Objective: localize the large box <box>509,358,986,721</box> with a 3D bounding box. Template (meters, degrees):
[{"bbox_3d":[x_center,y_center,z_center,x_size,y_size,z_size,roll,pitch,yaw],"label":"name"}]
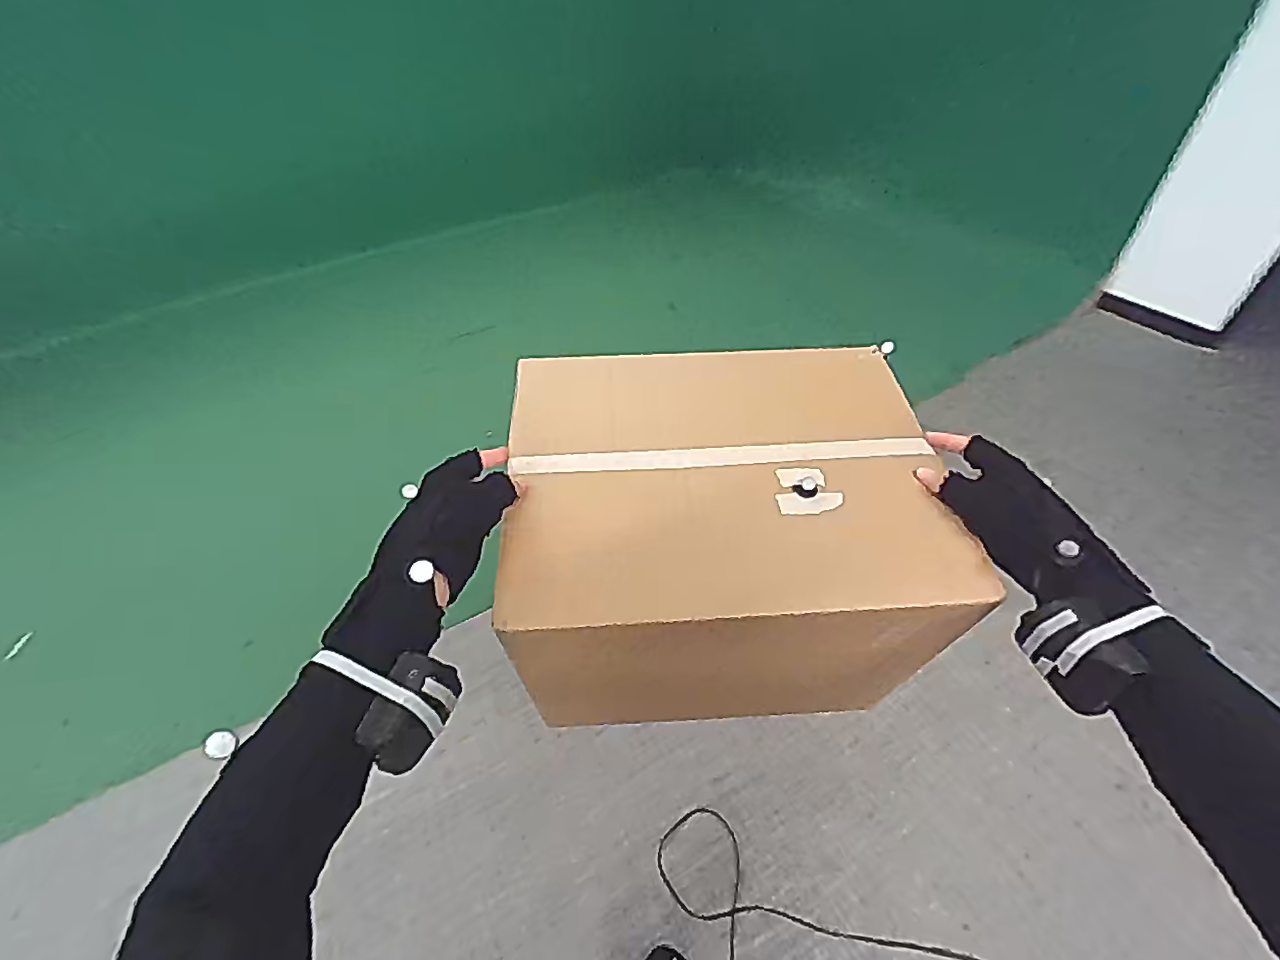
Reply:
[{"bbox_3d":[0.079,0.076,0.644,0.408,0.320,0.320,-2,53,-3],"label":"large box"}]
